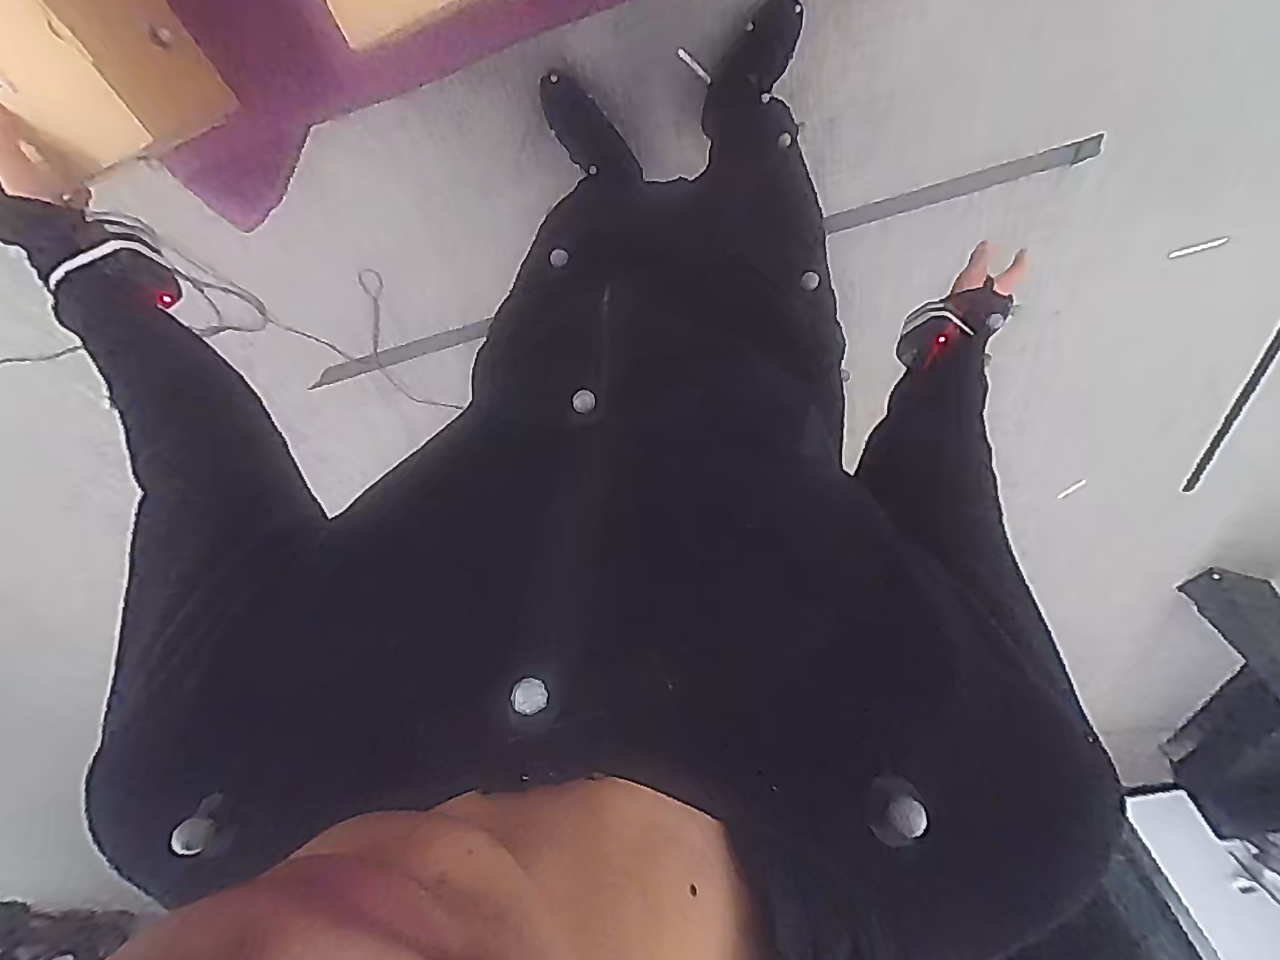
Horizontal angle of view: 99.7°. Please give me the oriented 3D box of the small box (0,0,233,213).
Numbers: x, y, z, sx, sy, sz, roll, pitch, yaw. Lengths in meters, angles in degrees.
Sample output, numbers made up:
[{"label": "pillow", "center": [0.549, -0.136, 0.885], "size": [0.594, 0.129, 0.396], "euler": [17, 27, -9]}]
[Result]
[{"label": "small box", "center": [-0.534, -0.379, 0.494], "size": [0.179, 0.176, 0.168], "euler": [-19, 132, 9]}]
